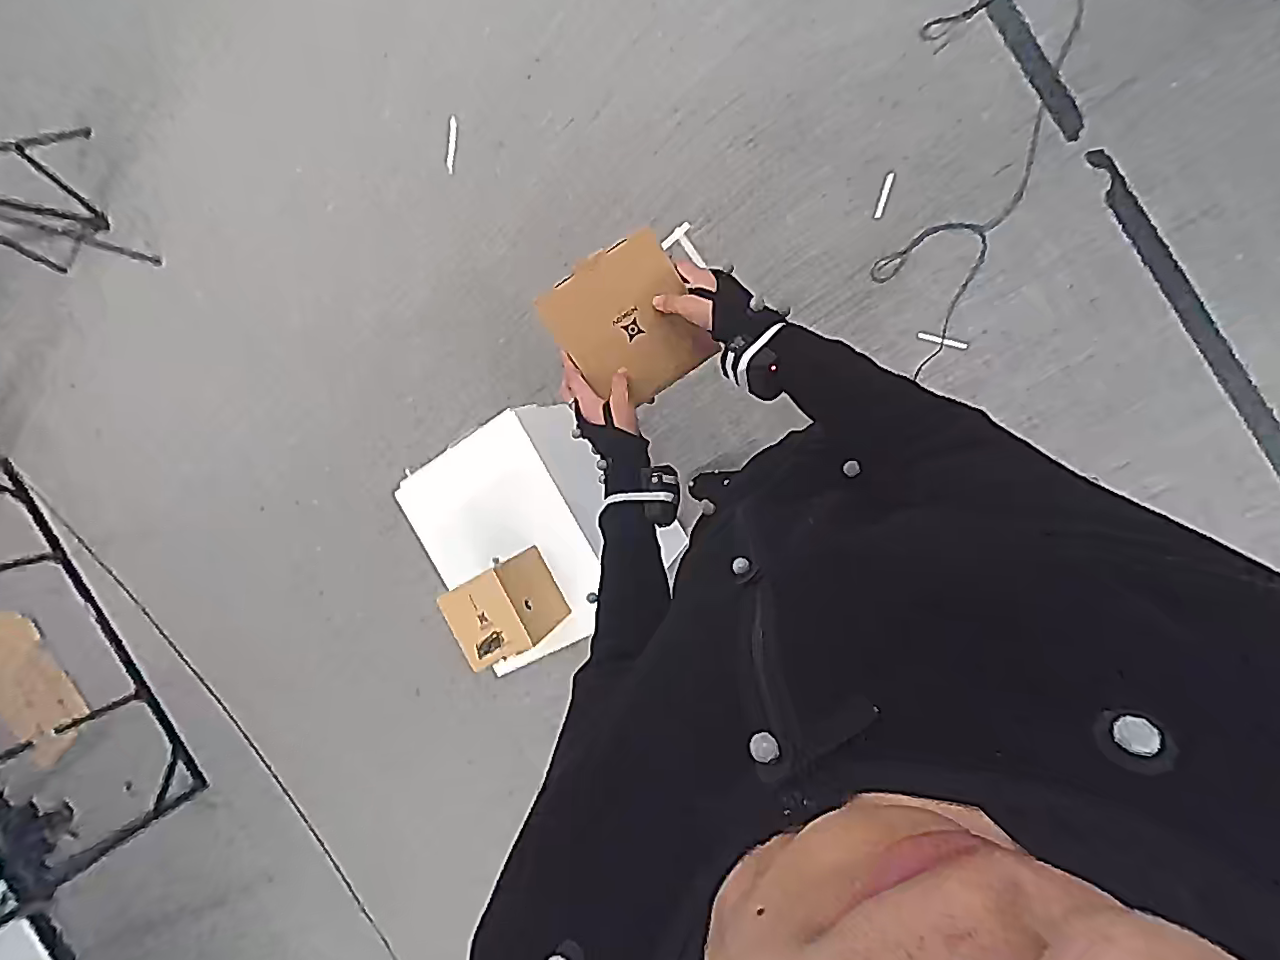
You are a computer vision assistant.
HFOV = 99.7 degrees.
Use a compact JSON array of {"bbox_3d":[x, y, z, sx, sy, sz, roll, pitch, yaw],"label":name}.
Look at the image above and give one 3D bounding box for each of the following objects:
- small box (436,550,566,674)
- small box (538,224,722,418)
[{"bbox_3d":[-0.286,0.274,1.149,0.168,0.176,0.179,-28,89,21],"label":"small box"},{"bbox_3d":[-0.017,-0.205,0.731,0.168,0.176,0.179,-33,102,0],"label":"small box"}]
